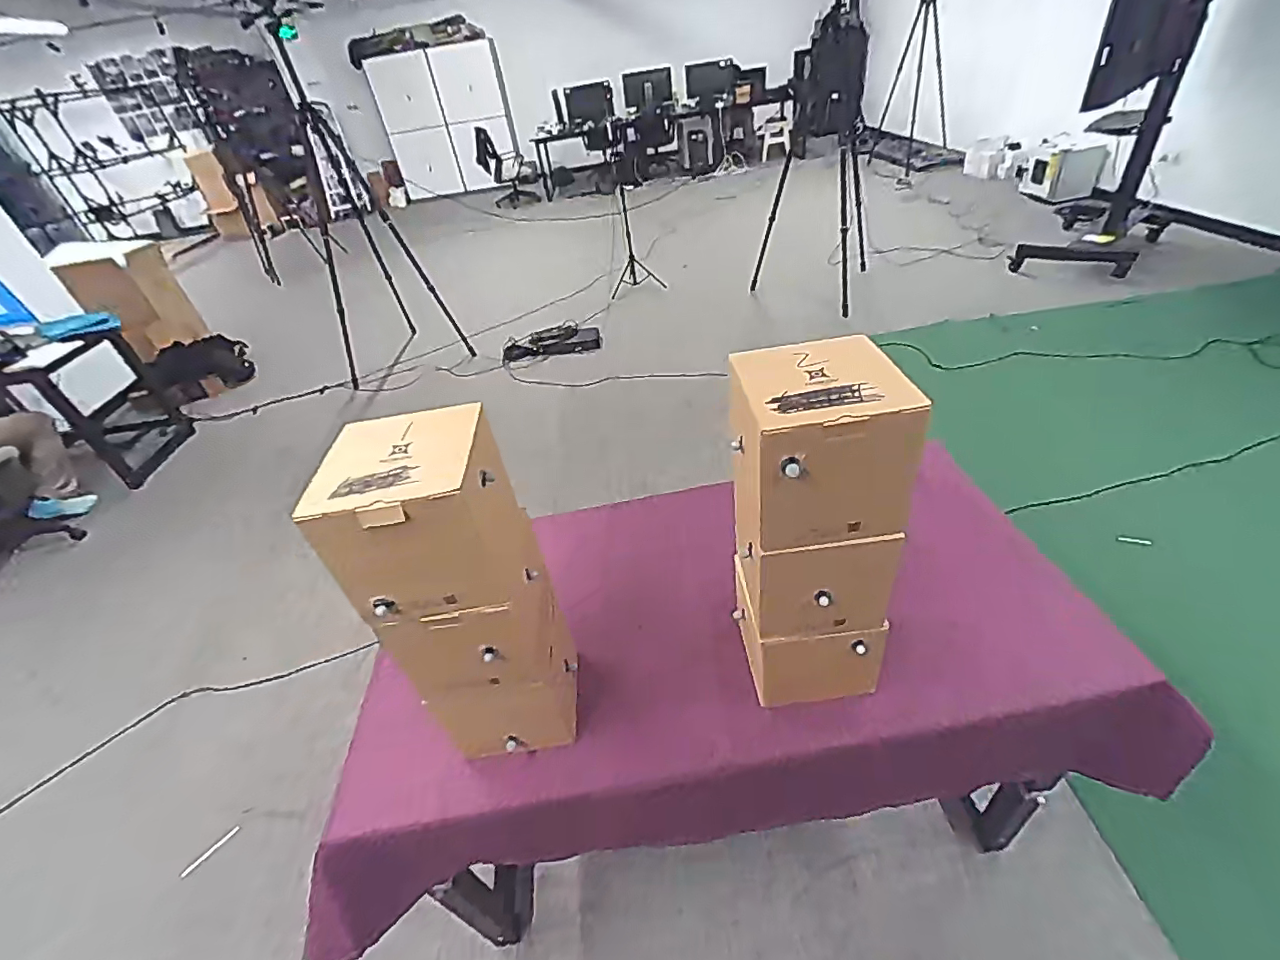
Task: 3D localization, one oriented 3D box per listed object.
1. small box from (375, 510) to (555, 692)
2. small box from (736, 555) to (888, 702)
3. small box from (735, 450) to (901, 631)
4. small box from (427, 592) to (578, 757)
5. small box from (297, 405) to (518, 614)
[{"bbox_3d":[-0.218,0.168,0.731,0.168,0.176,0.179,-8,38,3],"label":"small box"},{"bbox_3d":[0.251,0.217,0.823,0.179,0.176,0.168,-9,38,2],"label":"small box"},{"bbox_3d":[0.226,0.086,0.726,0.168,0.176,0.179,-7,38,4],"label":"small box"},{"bbox_3d":[-0.194,0.297,0.828,0.179,0.176,0.168,-9,38,1],"label":"small box"},{"bbox_3d":[-0.248,0.039,0.634,0.168,0.176,0.179,-10,37,0],"label":"small box"}]
